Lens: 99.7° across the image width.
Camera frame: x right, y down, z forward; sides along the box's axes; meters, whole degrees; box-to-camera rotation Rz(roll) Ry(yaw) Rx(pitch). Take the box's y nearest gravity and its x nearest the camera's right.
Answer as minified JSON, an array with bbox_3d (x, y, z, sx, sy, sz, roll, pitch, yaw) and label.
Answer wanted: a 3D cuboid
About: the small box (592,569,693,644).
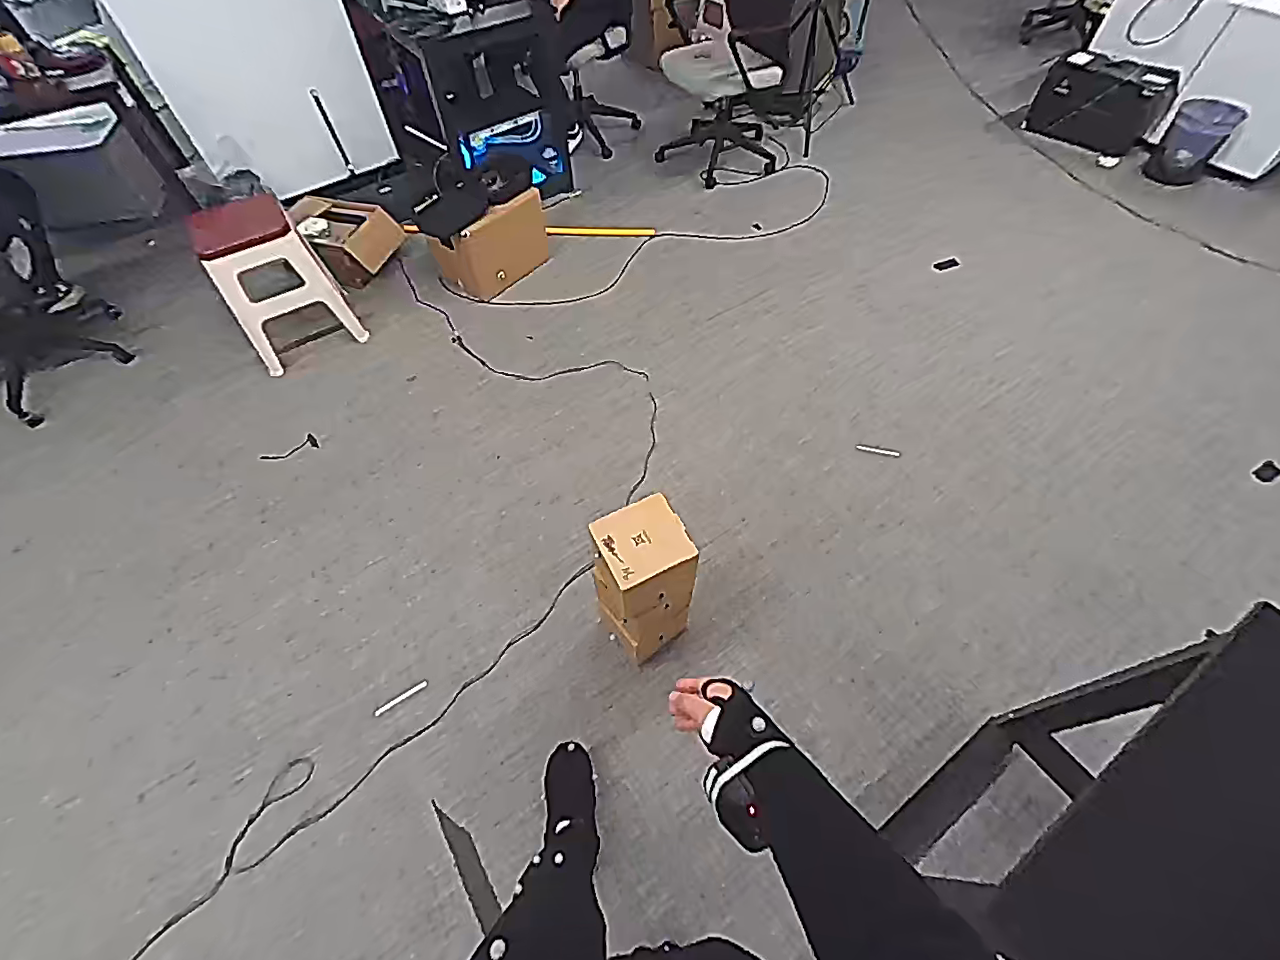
[{"bbox_3d":[0.008,0.259,1.290,0.179,0.176,0.168,-36,63,-22],"label":"small box"}]

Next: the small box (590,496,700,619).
[{"bbox_3d":[0.006,0.168,1.153,0.179,0.176,0.168,-23,59,-15],"label":"small box"}]

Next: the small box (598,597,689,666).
[{"bbox_3d":[0.008,0.355,1.421,0.179,0.176,0.168,-34,61,-19],"label":"small box"}]
